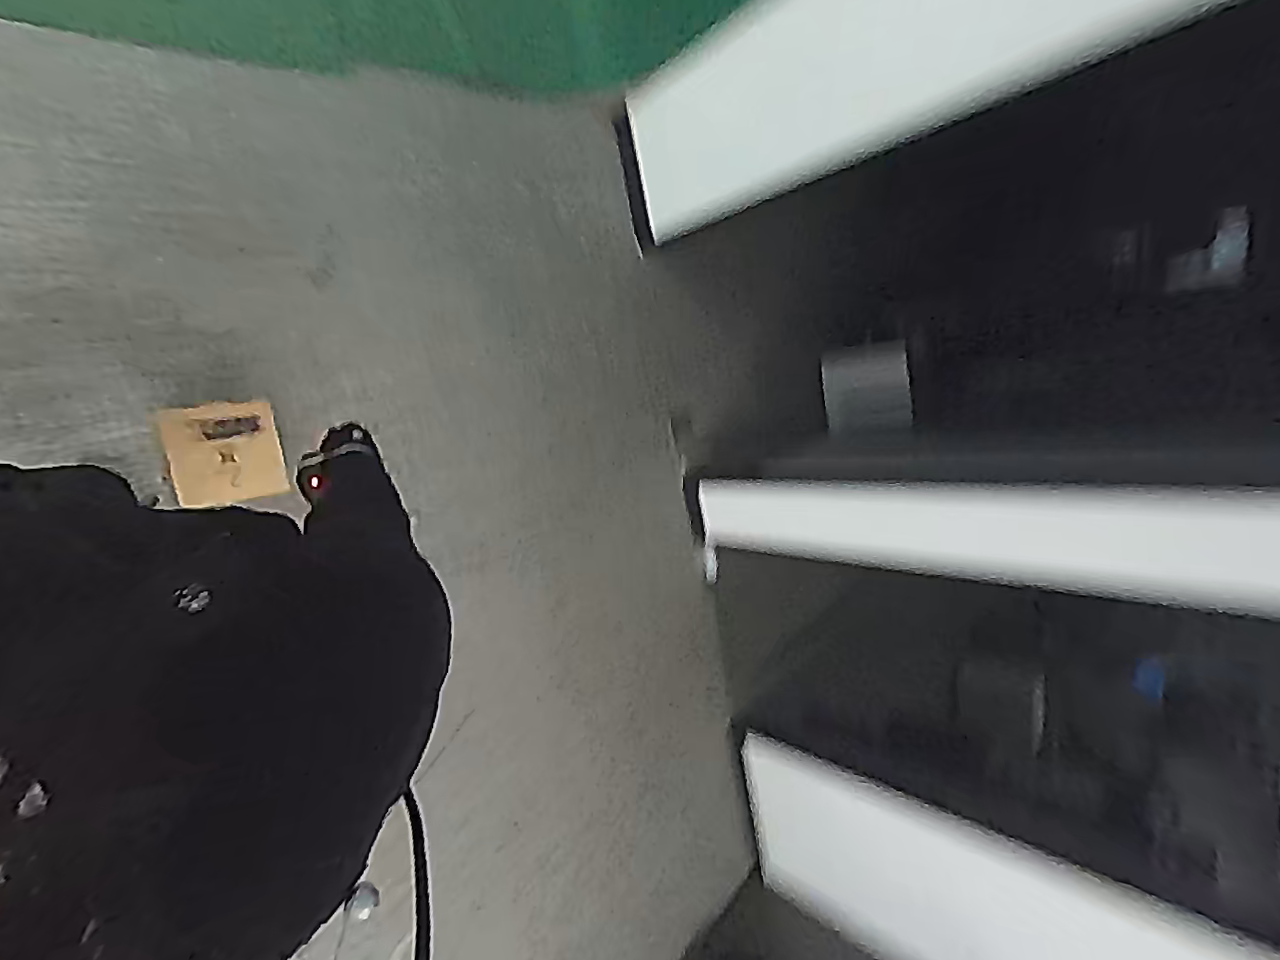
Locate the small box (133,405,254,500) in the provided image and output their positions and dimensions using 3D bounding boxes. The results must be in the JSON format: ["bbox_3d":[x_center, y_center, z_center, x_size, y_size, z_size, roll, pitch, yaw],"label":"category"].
[{"bbox_3d":[-0.931,-0.061,1.128,0.168,0.176,0.179,-12,100,-44],"label":"small box"}]
